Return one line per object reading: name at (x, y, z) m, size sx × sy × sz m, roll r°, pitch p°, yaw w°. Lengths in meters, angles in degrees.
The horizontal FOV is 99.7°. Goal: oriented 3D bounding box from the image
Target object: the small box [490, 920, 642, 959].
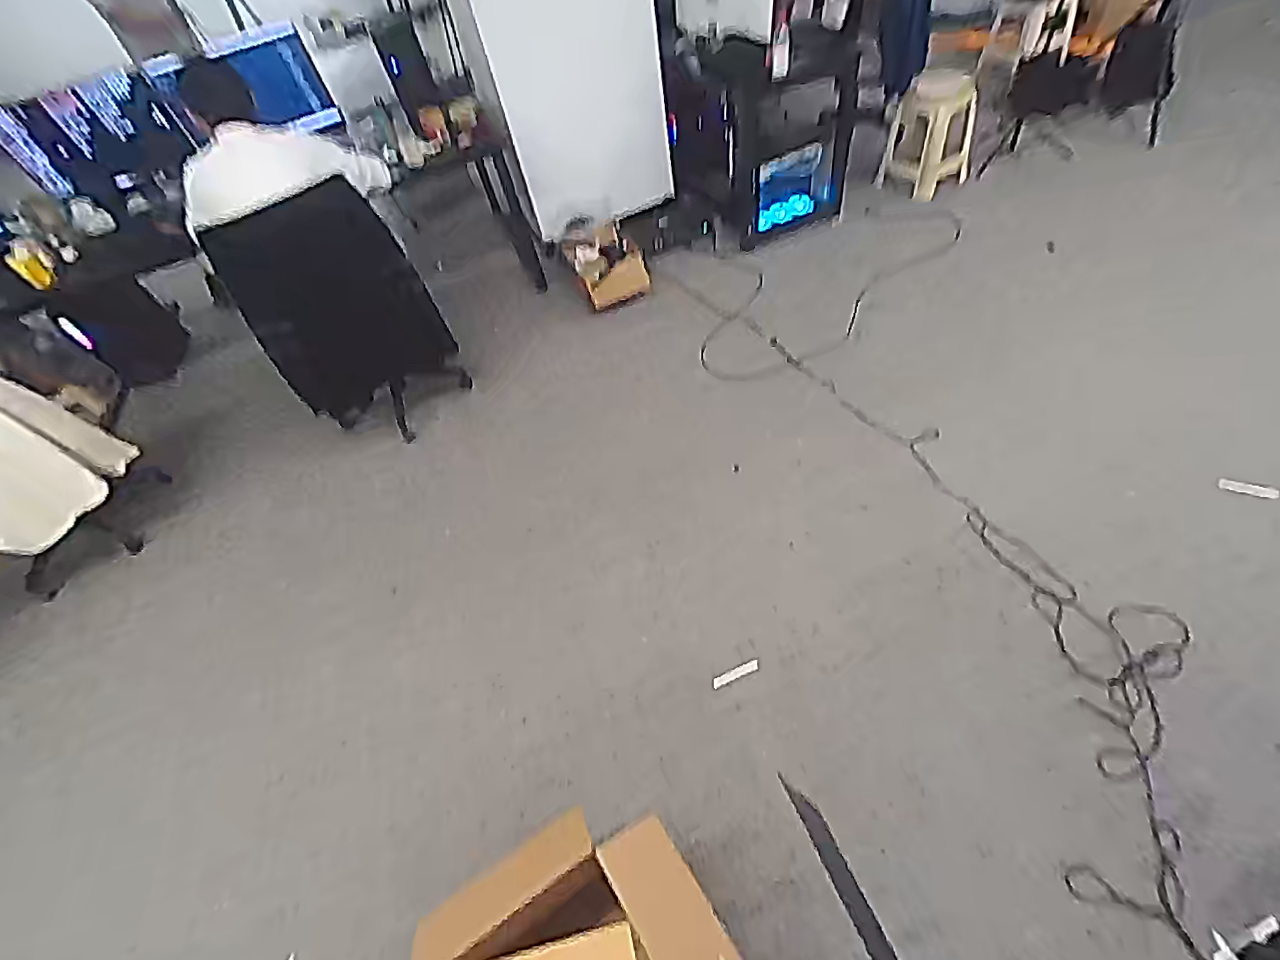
small box at (-0.070, 0.588, 0.525) m, size 0.179 × 0.176 × 0.168 m, roll -8°, pitch 24°, yaw -11°
